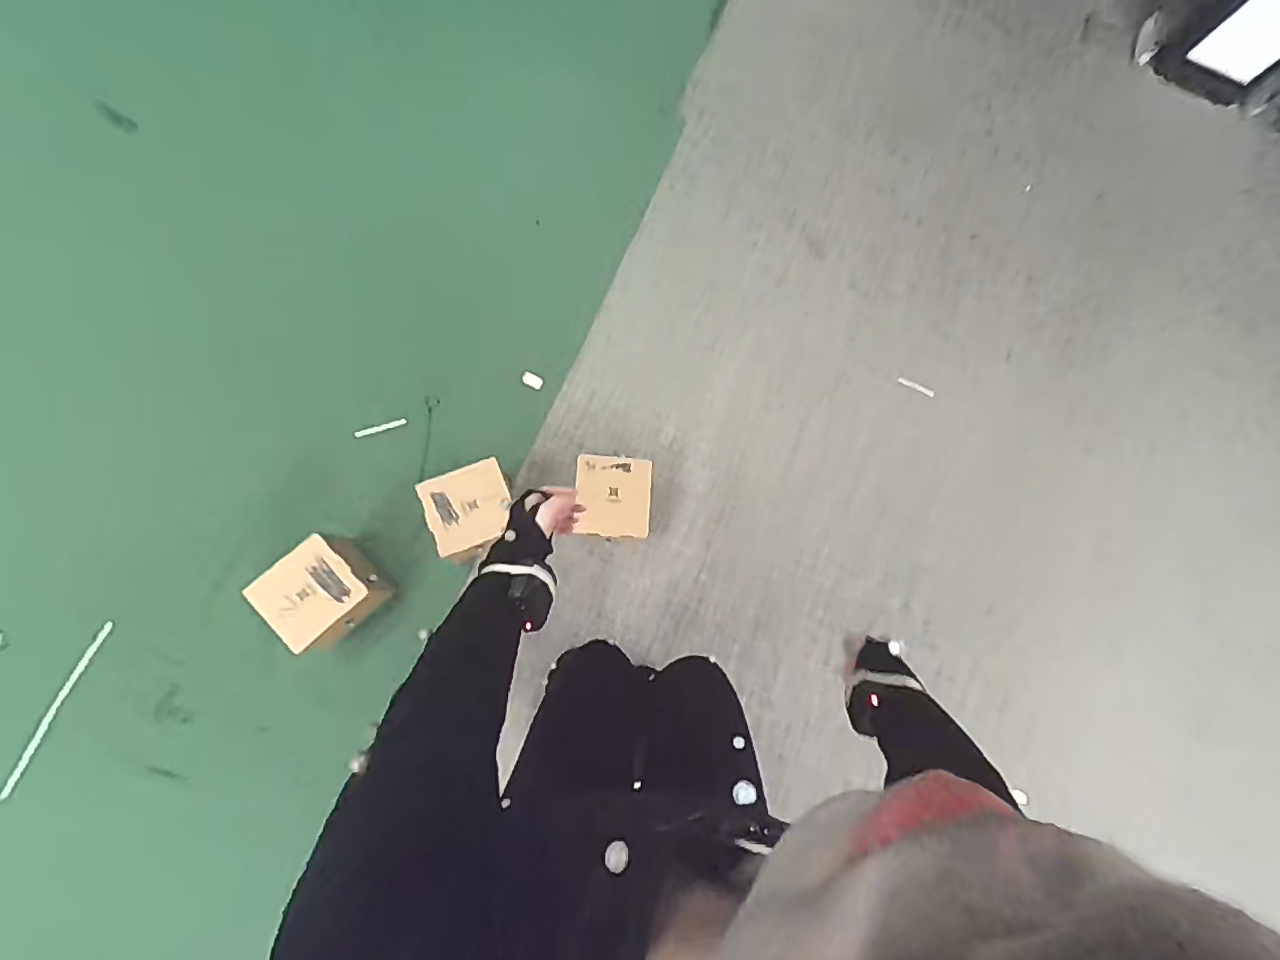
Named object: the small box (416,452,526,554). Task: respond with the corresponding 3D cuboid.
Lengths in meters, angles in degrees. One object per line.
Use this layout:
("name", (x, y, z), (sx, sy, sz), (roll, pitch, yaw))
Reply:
("small box", (-0.368, 0.059, 1.204), (0.179, 0.176, 0.168), (-21, 82, -11))

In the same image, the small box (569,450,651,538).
("small box", (-0.072, 0.039, 1.245), (0.168, 0.176, 0.179), (5, 79, -6))
